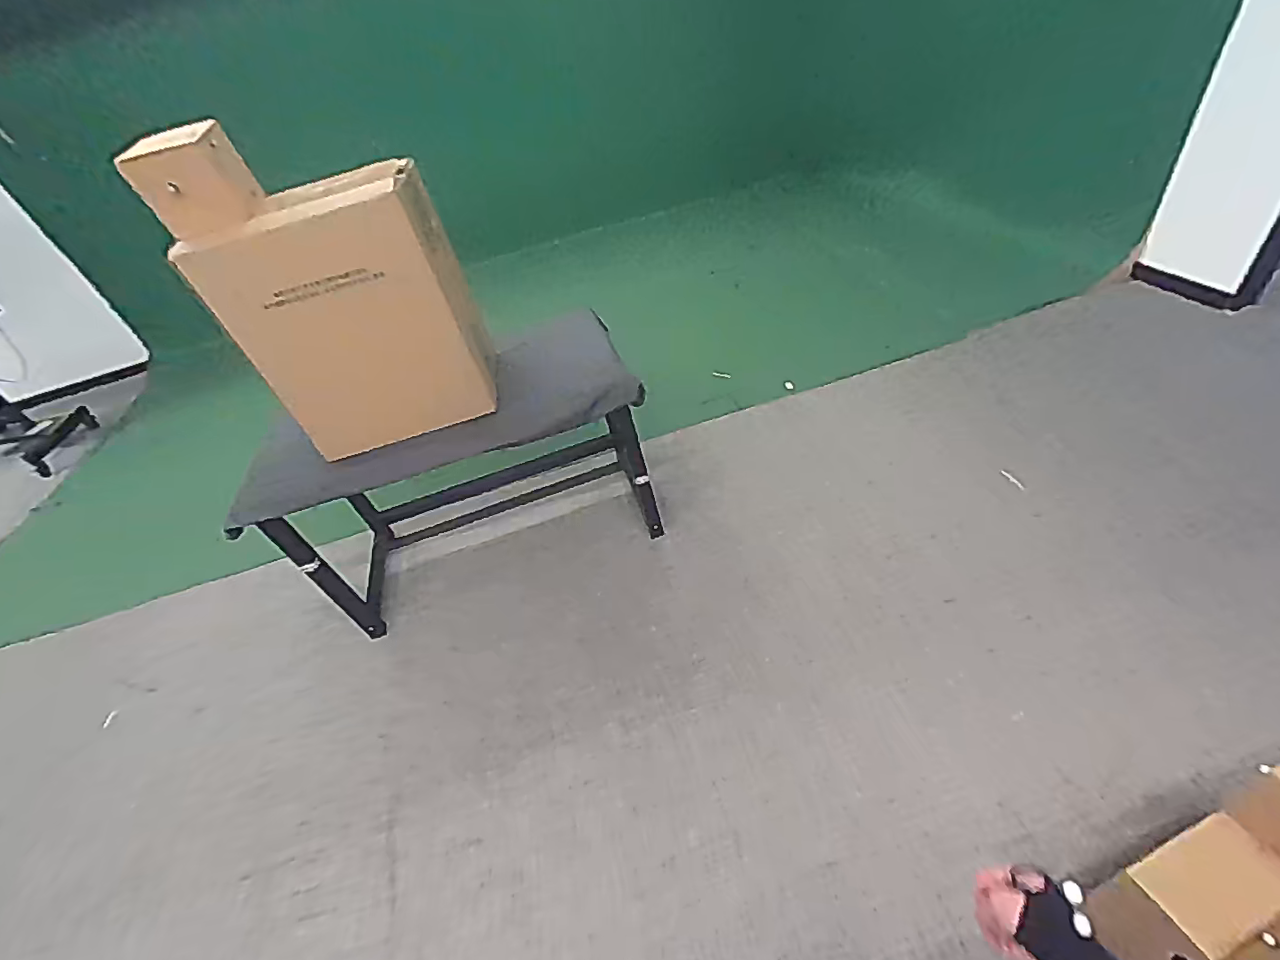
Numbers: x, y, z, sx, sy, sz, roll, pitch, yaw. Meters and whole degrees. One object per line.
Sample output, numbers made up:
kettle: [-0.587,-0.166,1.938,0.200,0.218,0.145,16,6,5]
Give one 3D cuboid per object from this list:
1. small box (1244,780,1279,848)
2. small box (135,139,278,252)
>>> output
small box: [1.142,0.547,0.848,0.168,0.176,0.179,-22,38,-7]
small box: [-1.004,-0.664,1.271,0.179,0.176,0.168,-18,49,-1]
